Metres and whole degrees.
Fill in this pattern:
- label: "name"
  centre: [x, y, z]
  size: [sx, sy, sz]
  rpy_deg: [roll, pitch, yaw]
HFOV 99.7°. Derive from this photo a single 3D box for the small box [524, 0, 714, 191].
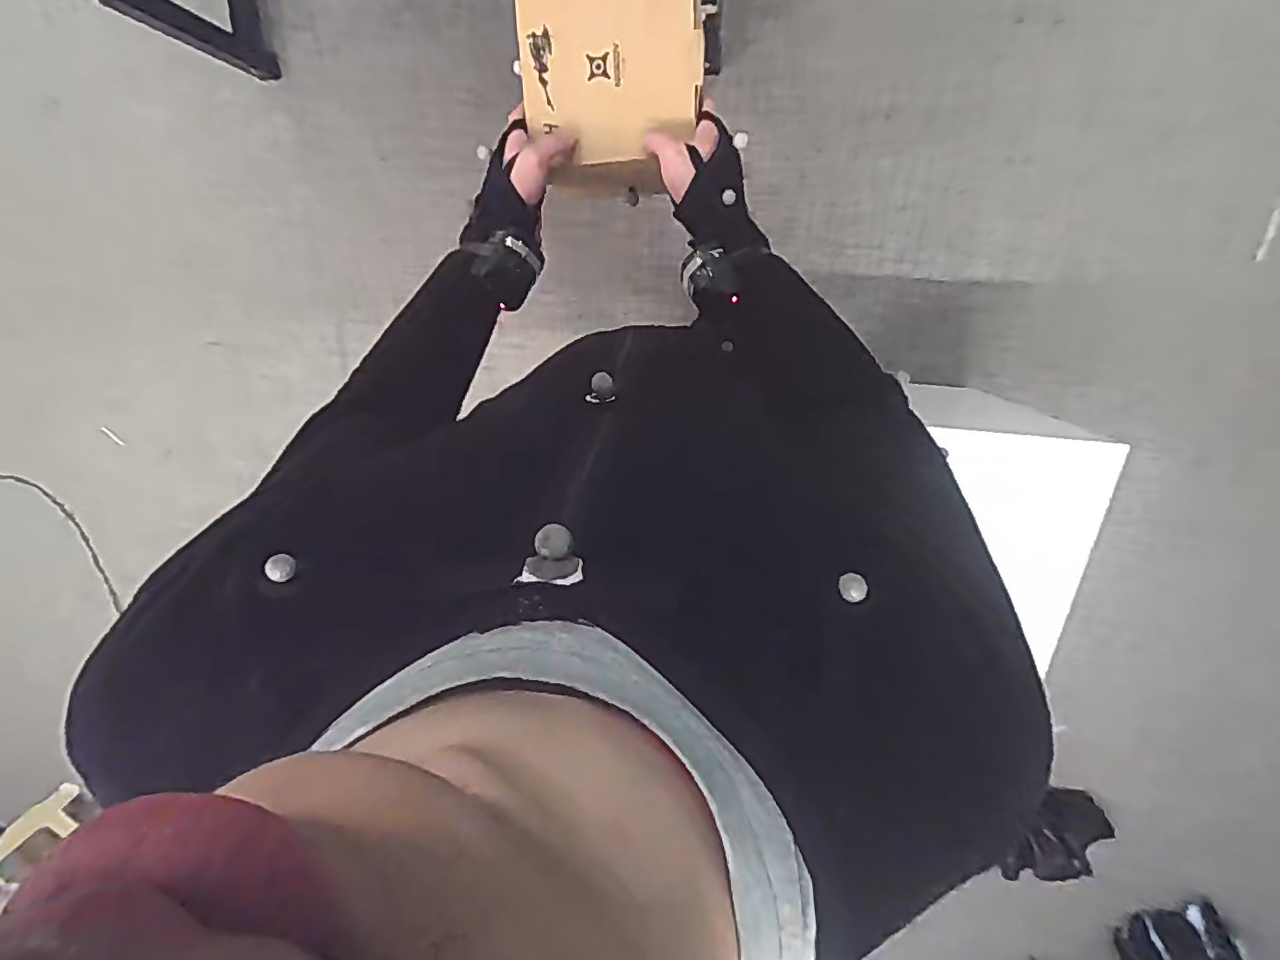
- label: "small box"
  centre: [-0.011, -0.422, 0.583]
  size: [0.179, 0.176, 0.168]
  rpy_deg: [0, 108, 7]
